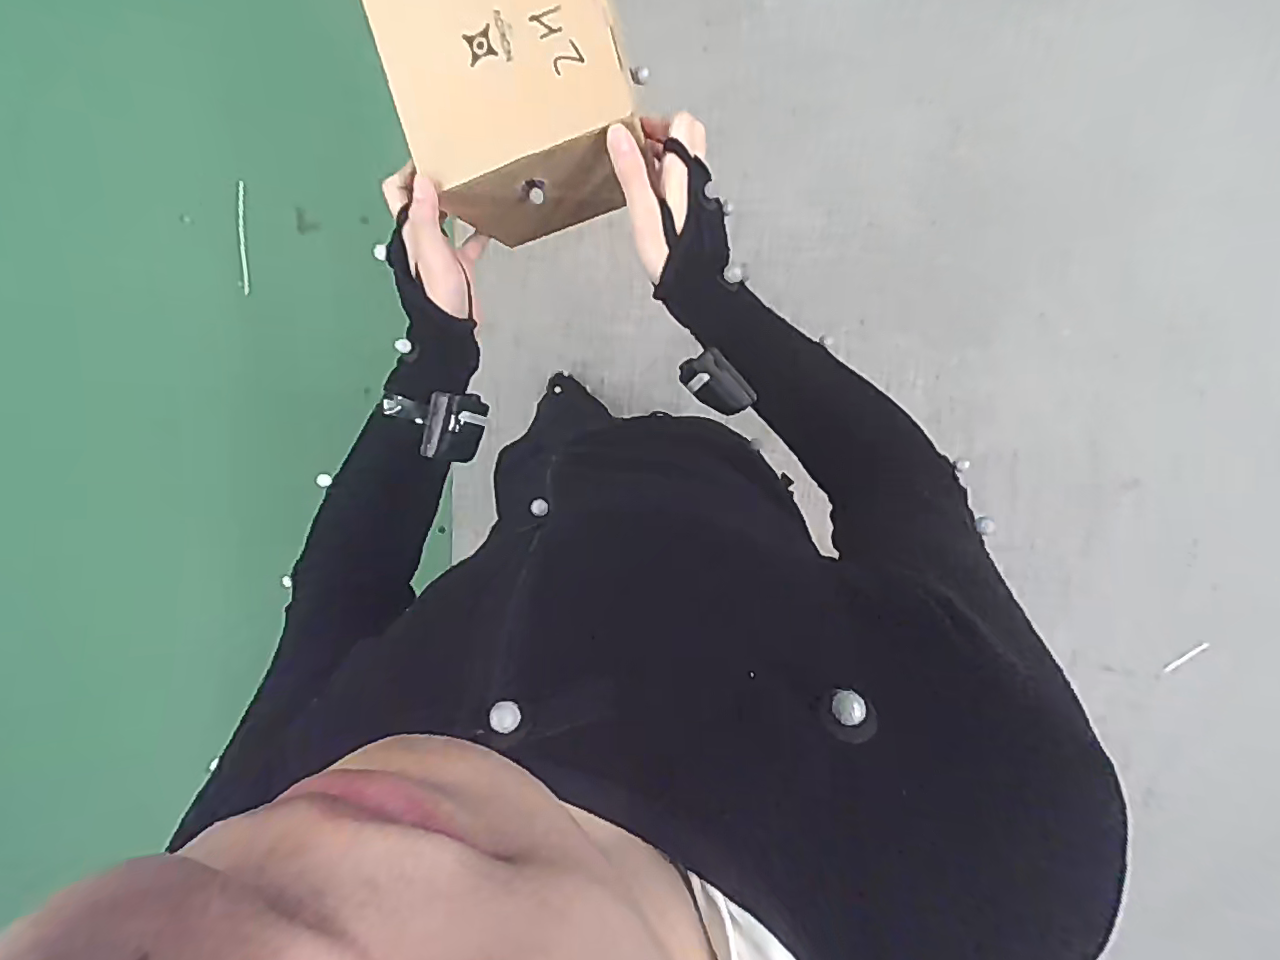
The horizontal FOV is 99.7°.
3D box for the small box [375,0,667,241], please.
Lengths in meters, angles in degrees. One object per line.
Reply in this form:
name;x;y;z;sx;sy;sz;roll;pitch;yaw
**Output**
small box;-0.086;-0.330;0.470;0.179;0.176;0.168;-13;98;12
